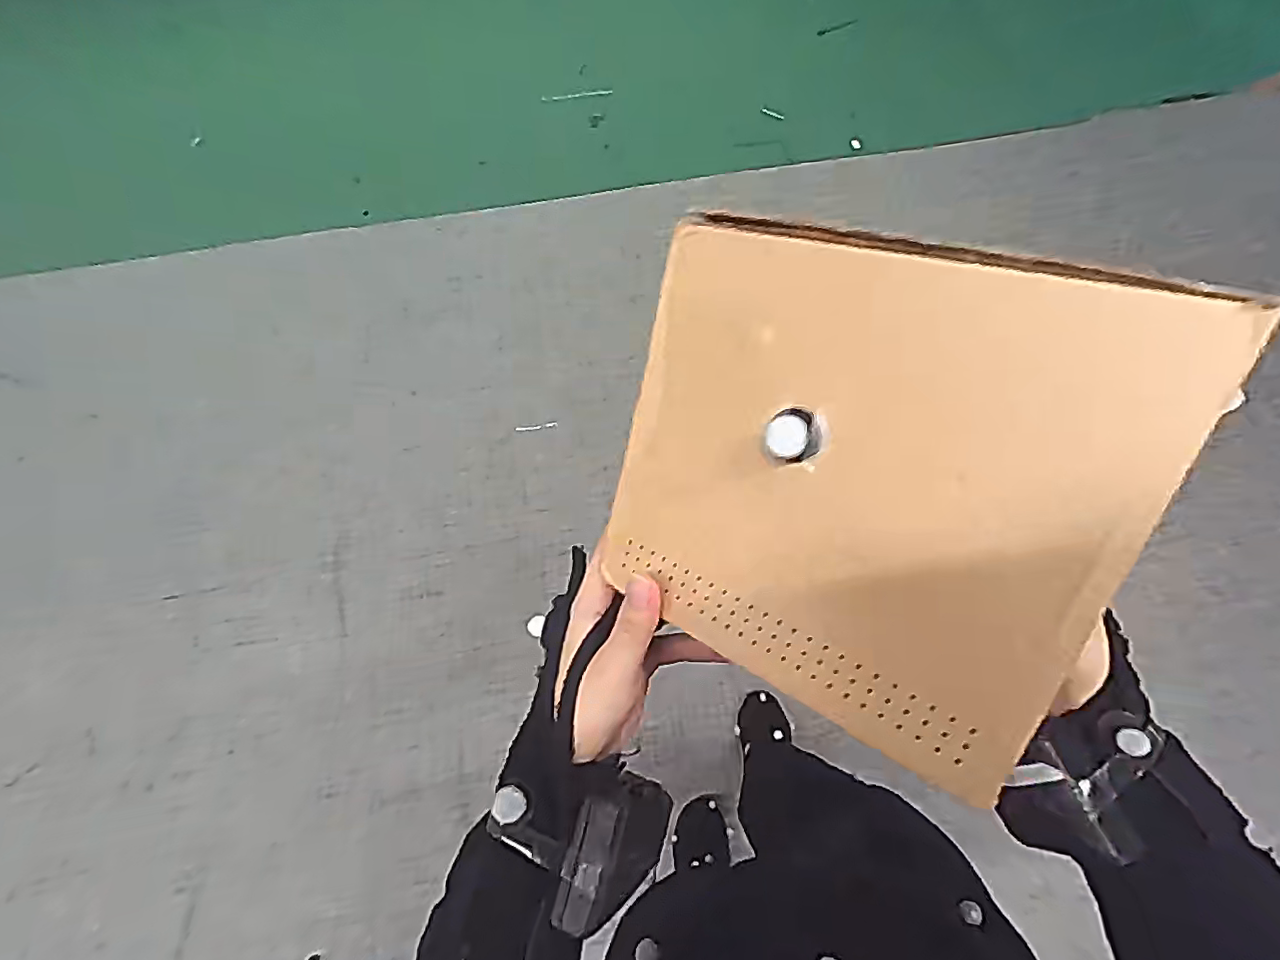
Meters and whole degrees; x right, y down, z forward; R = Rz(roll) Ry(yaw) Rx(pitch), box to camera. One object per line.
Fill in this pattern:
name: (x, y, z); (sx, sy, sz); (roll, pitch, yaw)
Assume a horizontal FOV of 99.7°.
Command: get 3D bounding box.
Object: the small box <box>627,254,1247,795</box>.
small box: (0.115, 0.002, 0.265); (0.179, 0.176, 0.168); (23, 22, 31)
